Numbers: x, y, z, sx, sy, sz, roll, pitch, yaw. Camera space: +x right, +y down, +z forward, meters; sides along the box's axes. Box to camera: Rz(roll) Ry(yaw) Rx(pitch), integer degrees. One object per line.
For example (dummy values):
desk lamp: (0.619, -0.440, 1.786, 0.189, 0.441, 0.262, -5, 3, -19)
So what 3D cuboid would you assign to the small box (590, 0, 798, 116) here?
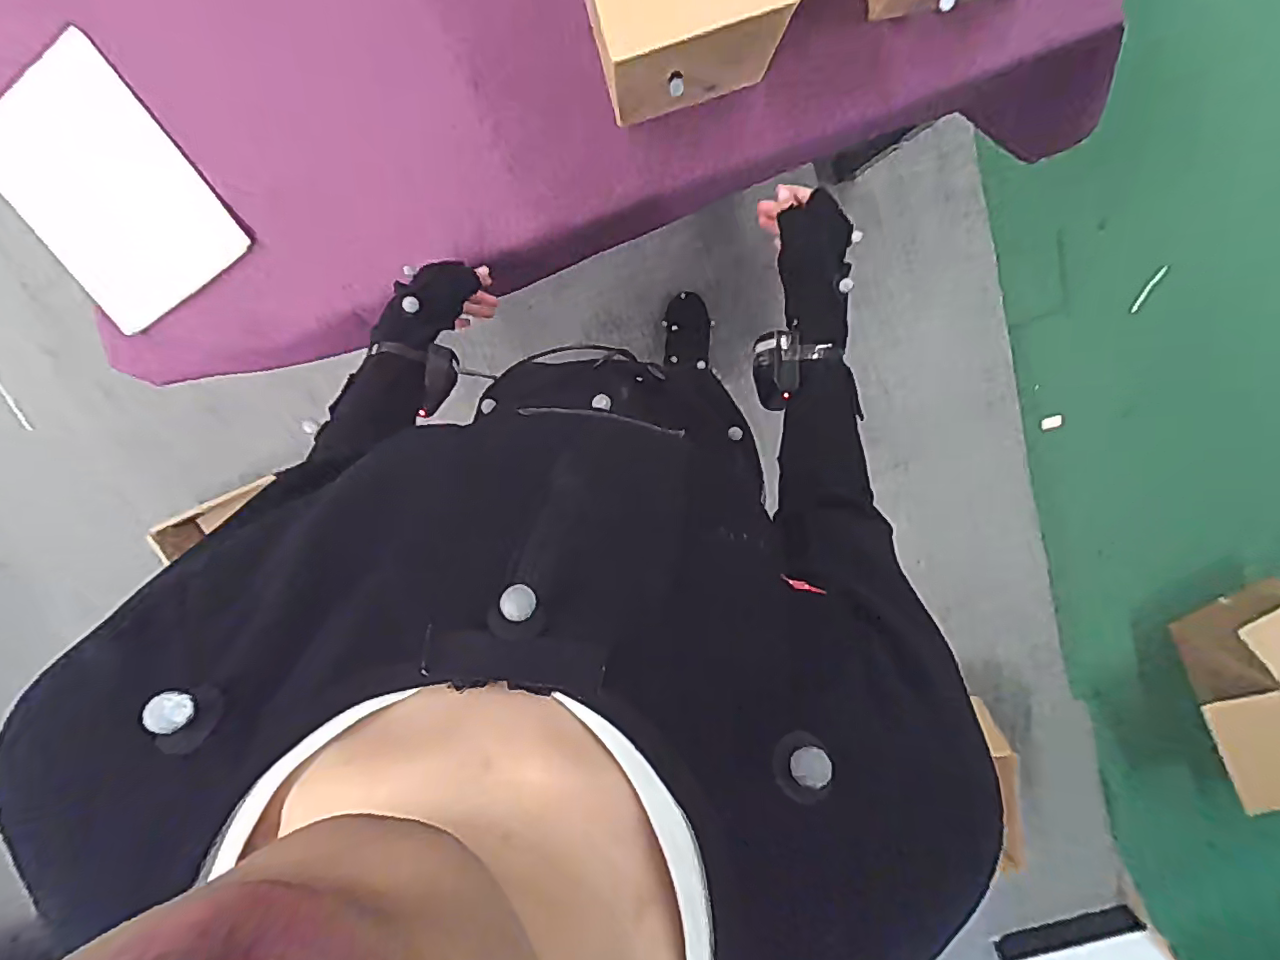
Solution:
small box: (0.034, -0.470, 0.501, 0.168, 0.176, 0.179, -14, 107, 5)
